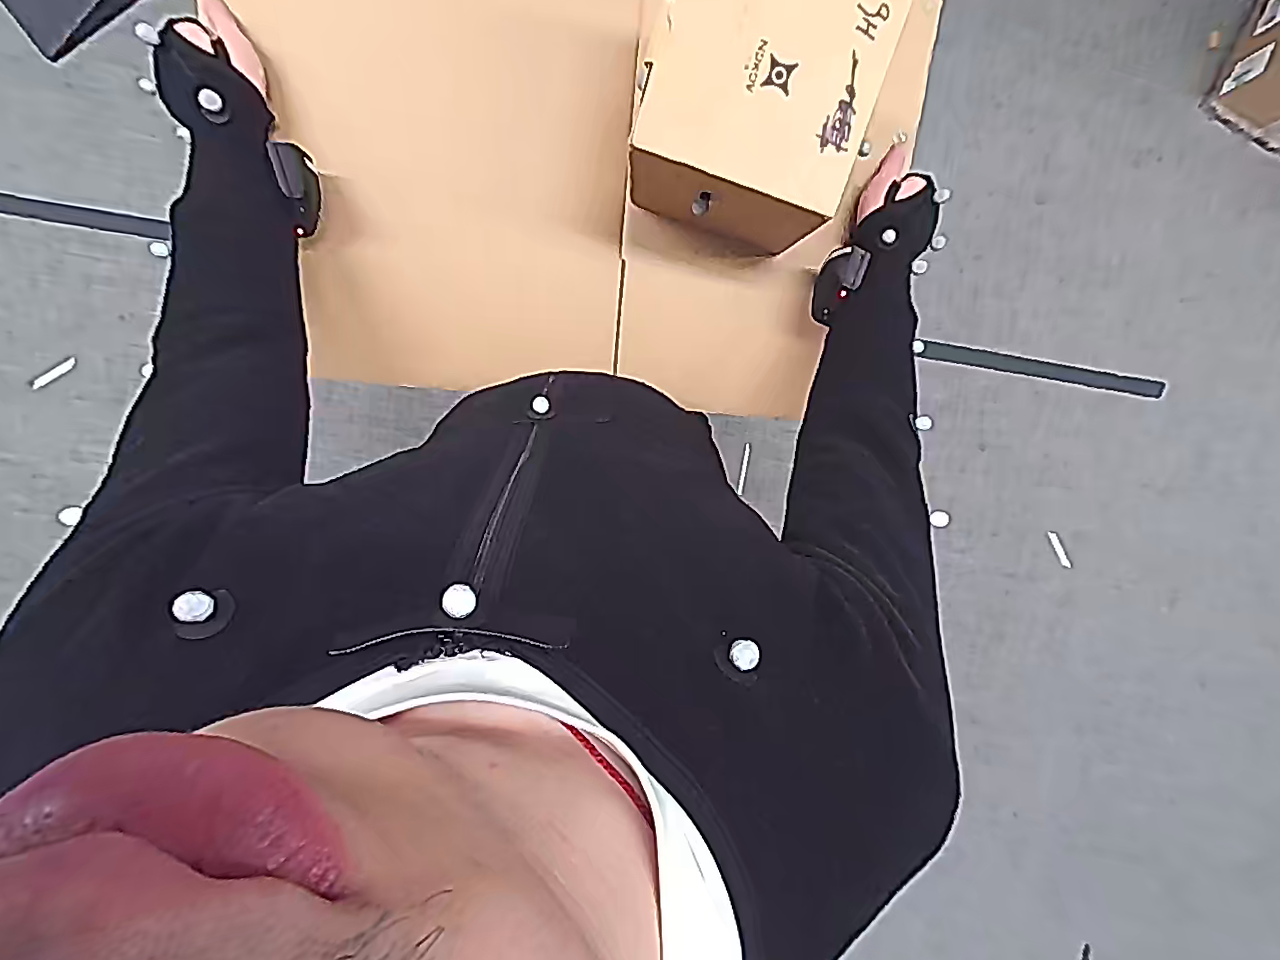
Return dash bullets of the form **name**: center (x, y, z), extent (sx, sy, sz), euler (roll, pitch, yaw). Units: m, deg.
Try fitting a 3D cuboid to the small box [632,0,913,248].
- **small box**: center (0.101, -0.333, 0.497), extent (0.179, 0.176, 0.168), euler (18, 102, -4)
